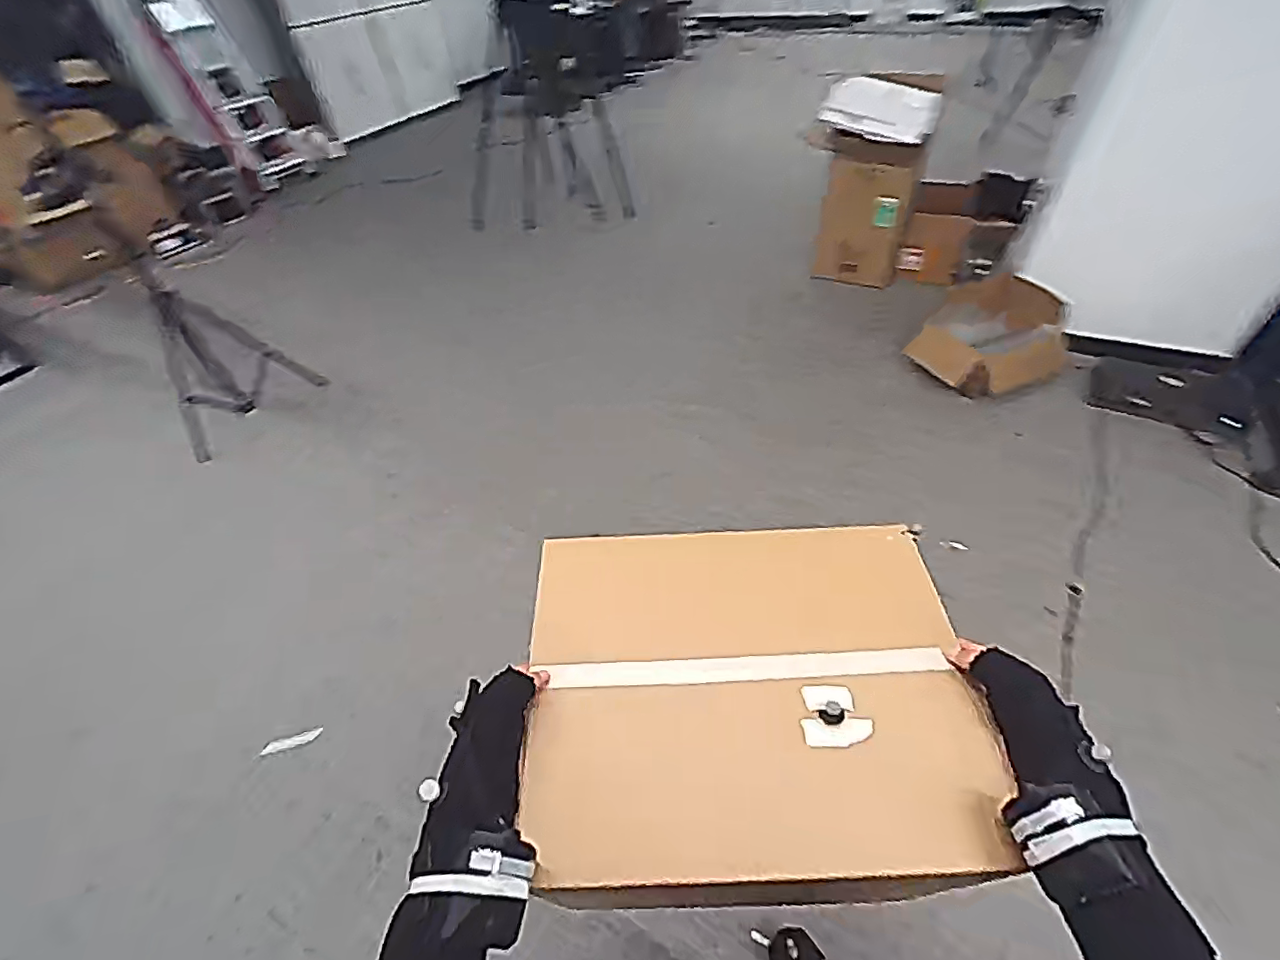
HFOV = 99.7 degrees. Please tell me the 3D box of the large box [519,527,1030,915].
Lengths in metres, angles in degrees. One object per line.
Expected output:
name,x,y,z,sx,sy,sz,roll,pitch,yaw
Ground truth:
large box,0.099,0.278,0.619,0.408,0.320,0.320,-3,49,0
